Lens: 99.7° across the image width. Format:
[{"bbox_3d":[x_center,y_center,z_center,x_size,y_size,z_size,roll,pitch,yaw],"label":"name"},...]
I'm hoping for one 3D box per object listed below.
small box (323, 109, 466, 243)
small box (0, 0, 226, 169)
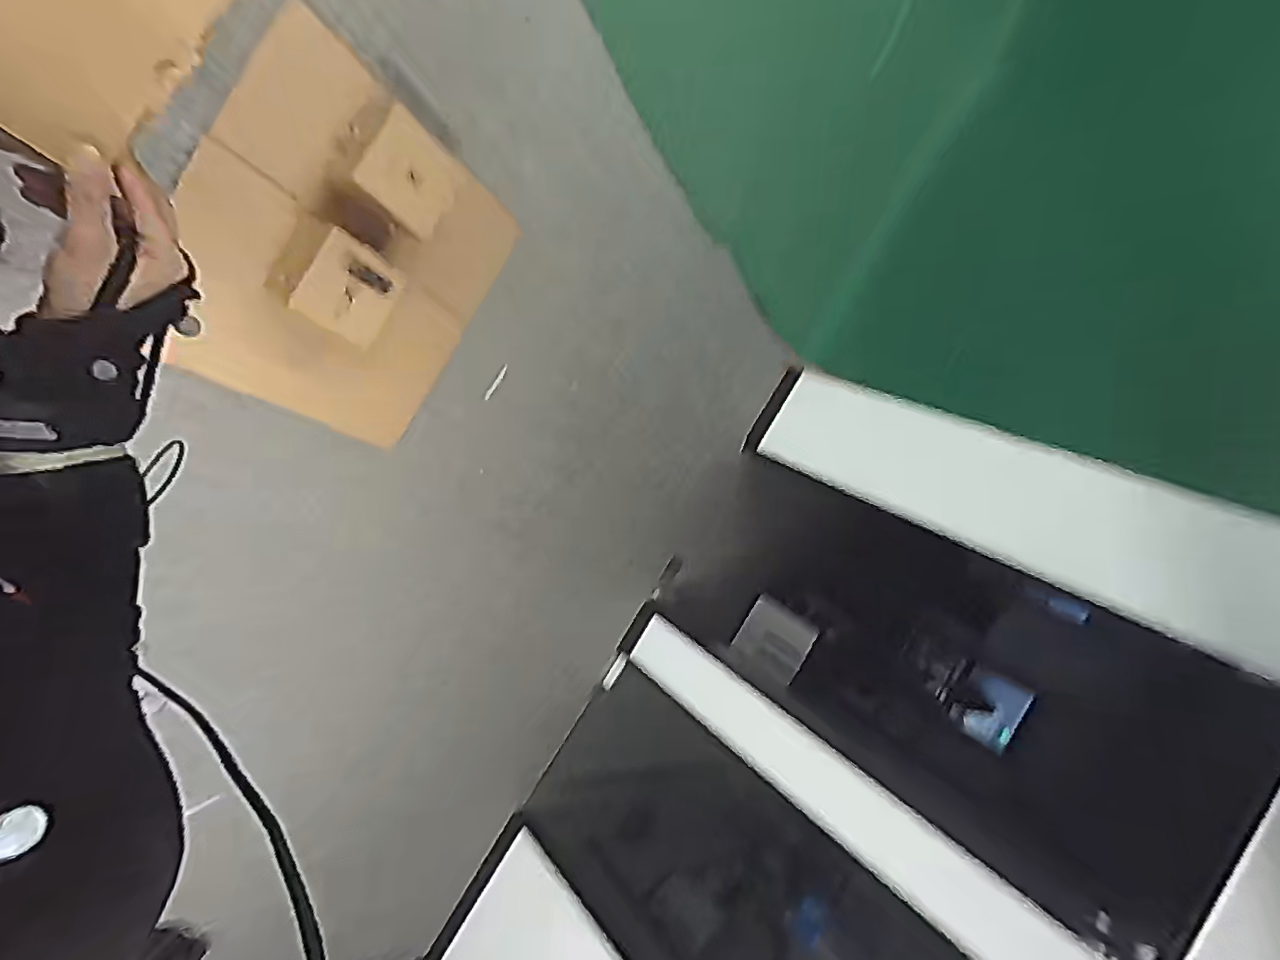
[{"bbox_3d":[-0.500,-0.620,1.103,0.168,0.176,0.179,-59,143,-2],"label":"small box"},{"bbox_3d":[-0.367,-0.301,0.273,0.168,0.176,0.179,-62,158,-6],"label":"small box"}]
